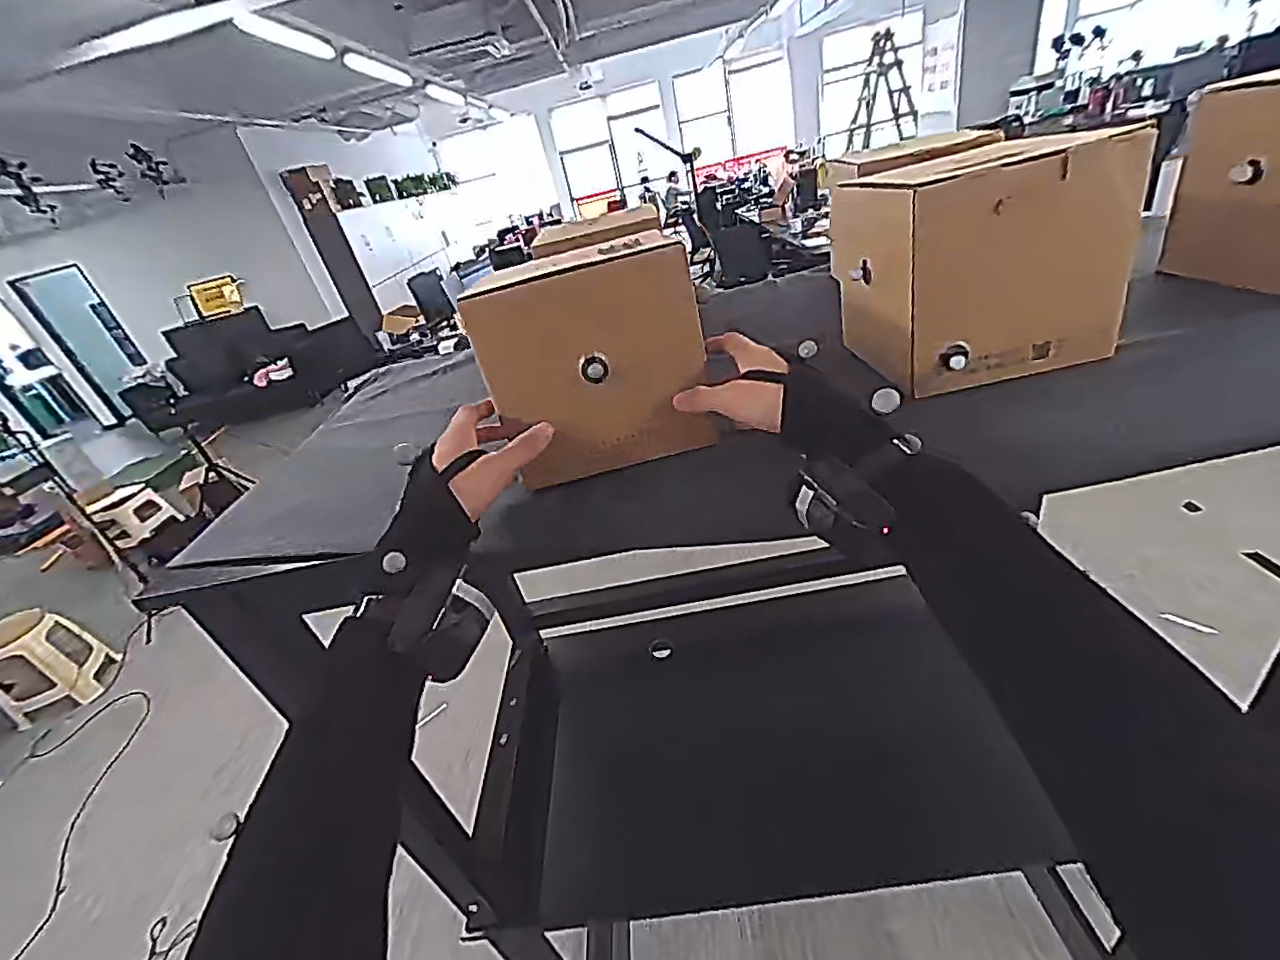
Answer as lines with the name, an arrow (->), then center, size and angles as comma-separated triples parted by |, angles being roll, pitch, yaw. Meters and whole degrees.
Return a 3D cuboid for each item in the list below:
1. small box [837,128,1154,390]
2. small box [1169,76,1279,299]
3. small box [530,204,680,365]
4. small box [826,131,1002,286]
small box -> 0.292, -0.191, 0.487 | 0.168, 0.176, 0.179 | -12, 28, 5
small box -> 0.623, -0.264, 0.465 | 0.168, 0.176, 0.179 | -13, 29, 5
small box -> -0.042, -0.274, 0.767 | 0.168, 0.176, 0.179 | -11, 31, 4
small box -> 0.361, -0.360, 0.742 | 0.168, 0.176, 0.179 | -8, 31, 9
